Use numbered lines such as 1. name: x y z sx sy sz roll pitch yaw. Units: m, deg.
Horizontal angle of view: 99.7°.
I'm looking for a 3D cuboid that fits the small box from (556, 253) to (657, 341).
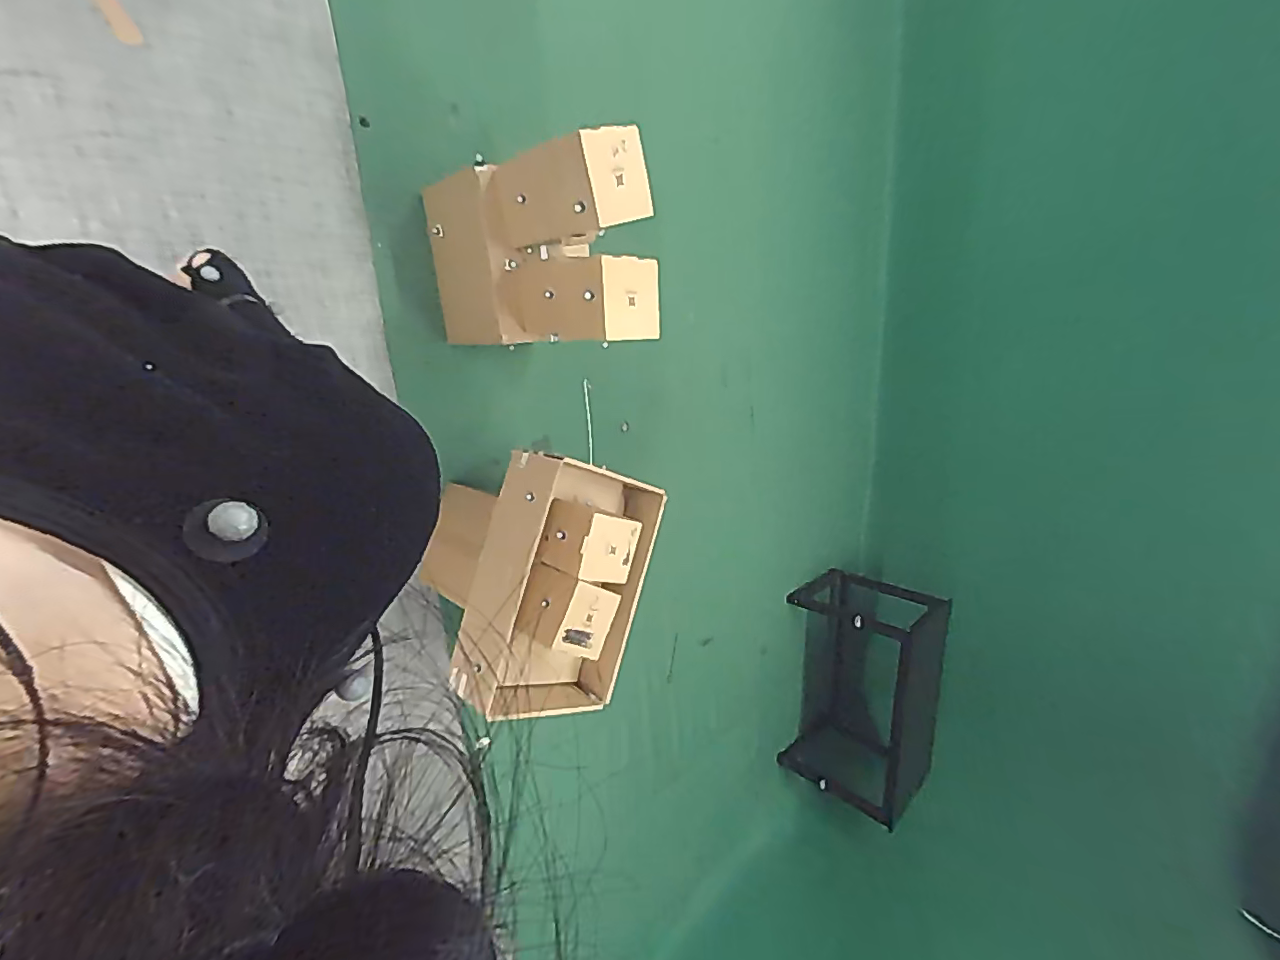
1. small box: -0.077 -0.409 1.236 0.168 0.176 0.179 -15 109 -41
